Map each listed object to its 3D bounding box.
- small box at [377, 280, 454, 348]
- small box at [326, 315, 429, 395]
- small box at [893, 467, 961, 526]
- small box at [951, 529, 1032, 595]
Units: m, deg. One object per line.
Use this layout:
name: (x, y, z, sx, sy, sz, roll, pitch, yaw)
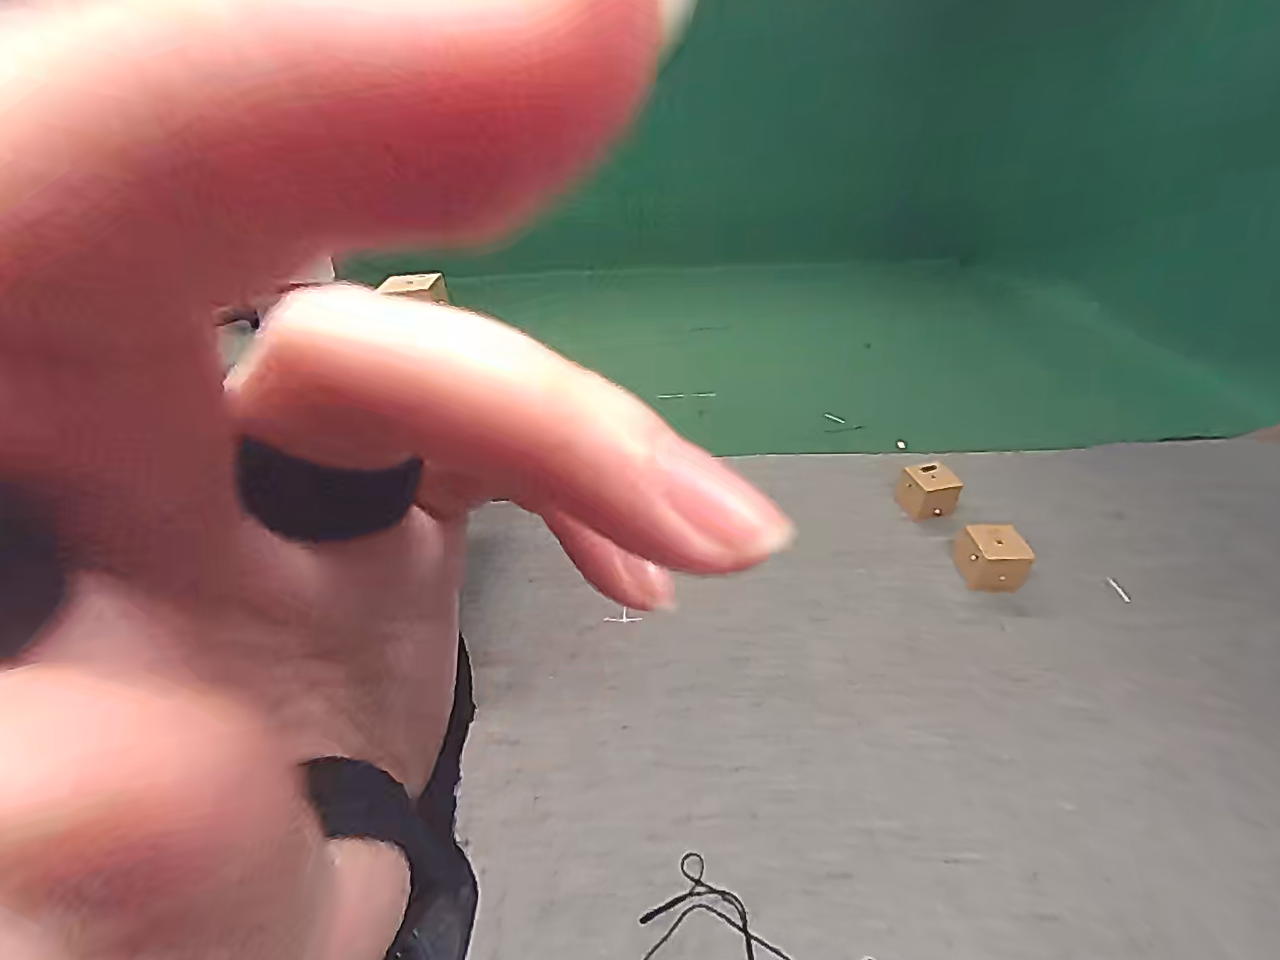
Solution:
small box: (-0.721, -0.535, 1.760, 0.168, 0.176, 0.179, -4, 37, -2)
small box: (-0.716, -0.344, 1.496, 0.179, 0.176, 0.168, -2, 37, 3)
small box: (1.194, 0.069, 2.267, 0.168, 0.176, 0.179, -8, 37, -6)
small box: (1.257, 0.298, 1.947, 0.168, 0.176, 0.179, 0, 36, 4)
